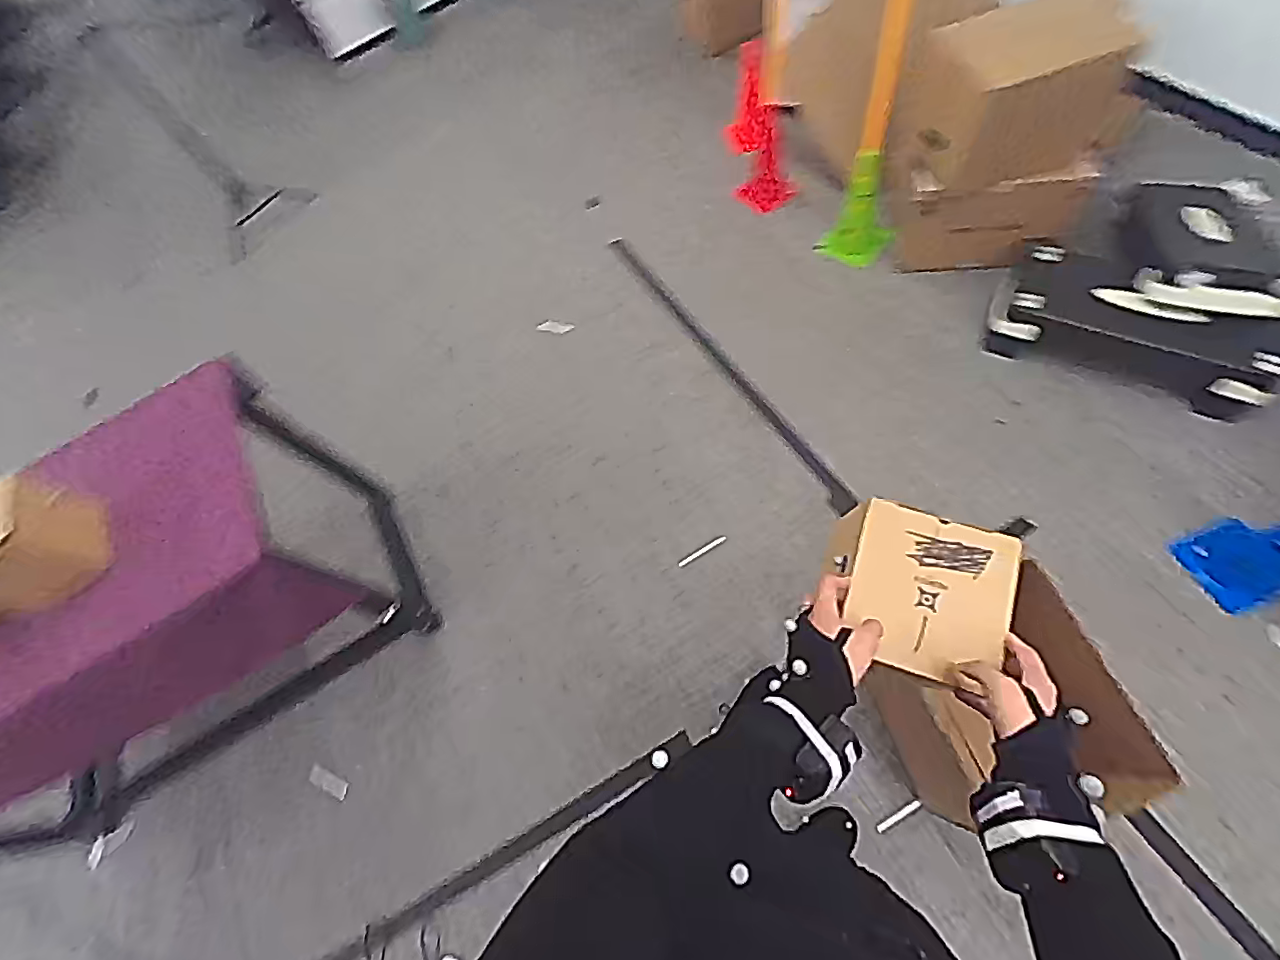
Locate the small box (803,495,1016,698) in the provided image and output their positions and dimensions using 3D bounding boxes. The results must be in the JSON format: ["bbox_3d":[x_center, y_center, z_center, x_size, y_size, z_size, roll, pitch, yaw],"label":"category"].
[{"bbox_3d":[0.308,0.140,0.650,0.168,0.176,0.179,16,76,9],"label":"small box"}]
